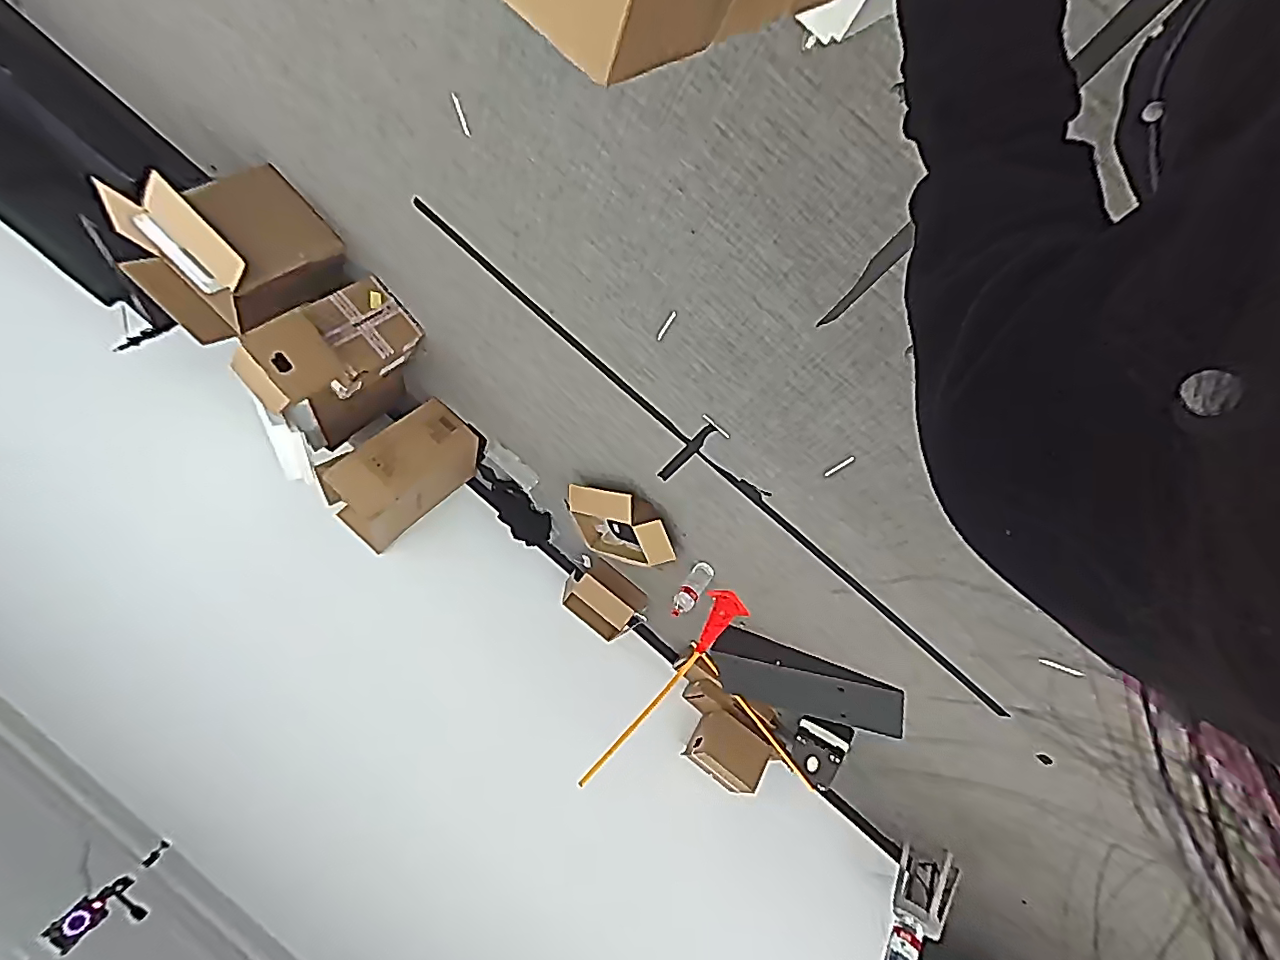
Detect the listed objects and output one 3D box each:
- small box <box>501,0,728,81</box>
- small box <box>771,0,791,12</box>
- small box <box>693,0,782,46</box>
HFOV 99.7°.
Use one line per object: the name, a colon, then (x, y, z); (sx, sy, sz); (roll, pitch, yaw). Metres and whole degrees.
small box: (-0.019, -0.430, 0.373); (0.179, 0.176, 0.168); (41, 148, 0)
small box: (0.163, -0.633, 0.550); (0.179, 0.176, 0.168); (43, 148, 0)
small box: (0.073, -0.530, 0.462); (0.179, 0.176, 0.168); (42, 147, 0)
